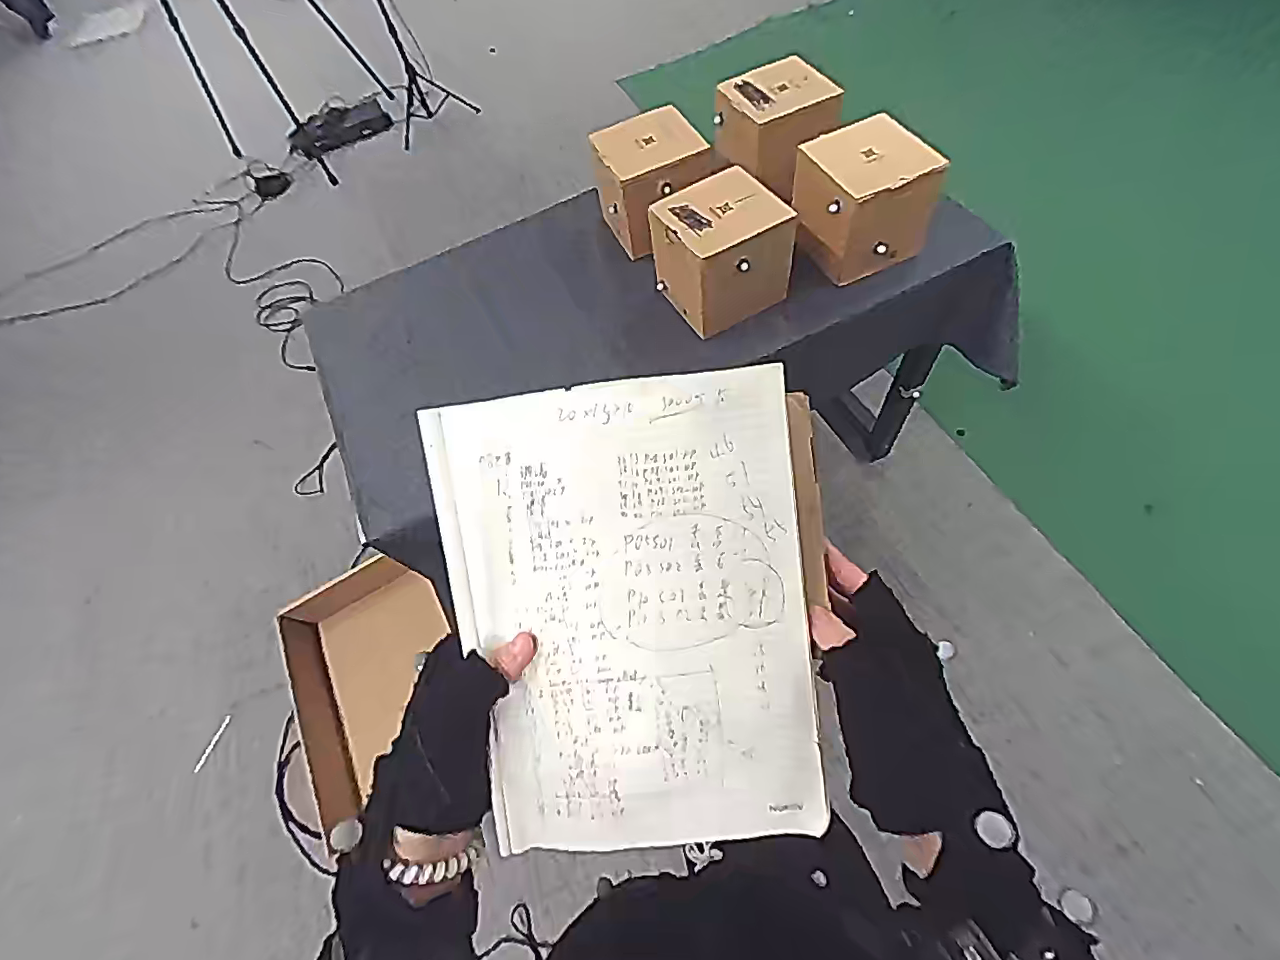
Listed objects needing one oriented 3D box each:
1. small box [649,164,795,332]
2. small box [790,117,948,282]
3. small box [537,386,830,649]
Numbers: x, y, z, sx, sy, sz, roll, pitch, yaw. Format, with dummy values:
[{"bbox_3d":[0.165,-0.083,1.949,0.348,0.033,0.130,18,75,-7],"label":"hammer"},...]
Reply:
[{"bbox_3d":[0.135,-0.384,0.912,0.179,0.176,0.168,-28,61,-9],"label":"small box"},{"bbox_3d":[0.378,-0.479,0.934,0.168,0.176,0.179,-23,61,-5],"label":"small box"},{"bbox_3d":[0.031,0.039,0.414,0.179,0.176,0.168,-1,77,5],"label":"small box"}]
